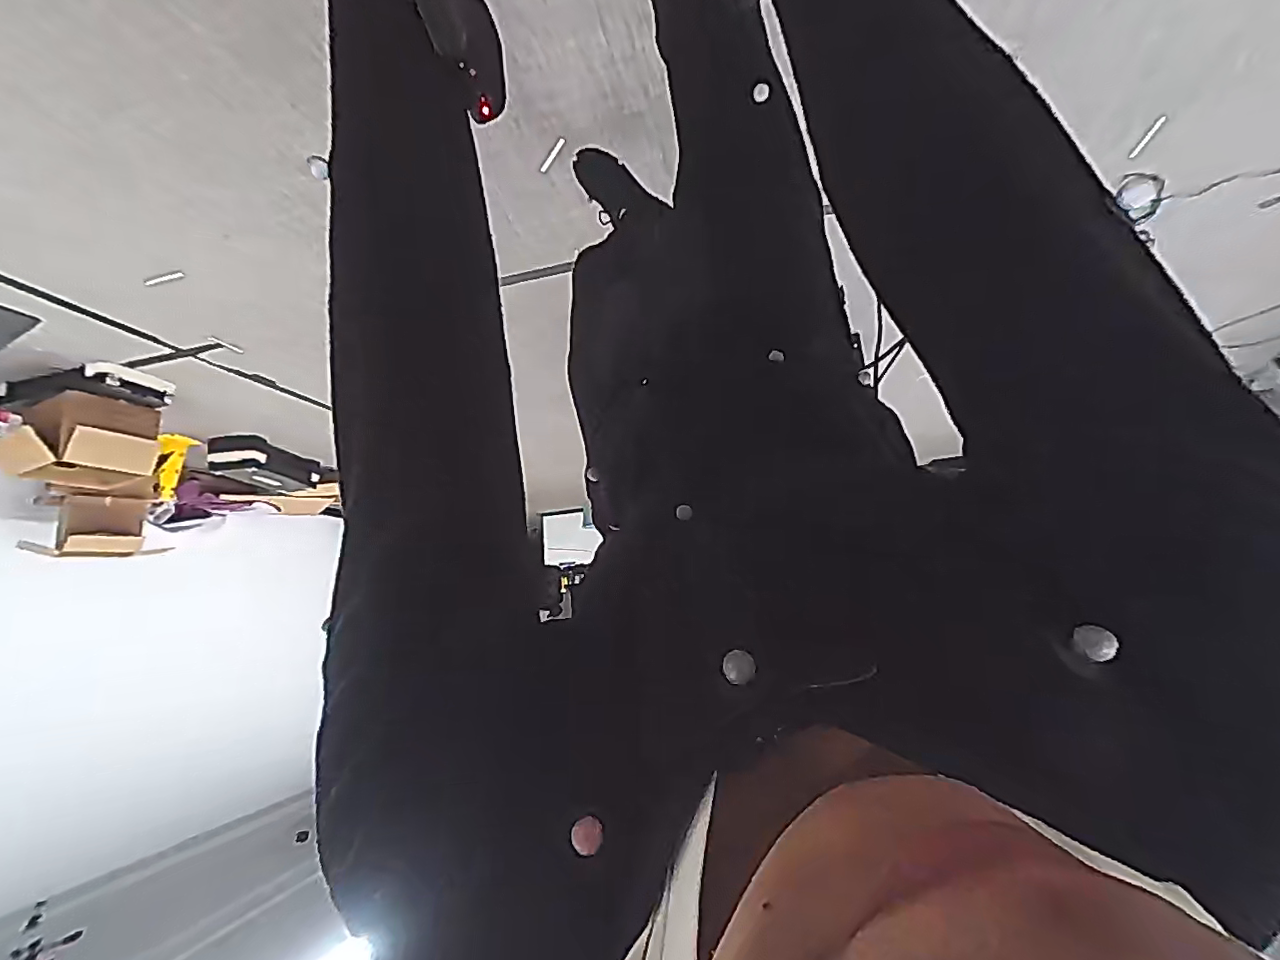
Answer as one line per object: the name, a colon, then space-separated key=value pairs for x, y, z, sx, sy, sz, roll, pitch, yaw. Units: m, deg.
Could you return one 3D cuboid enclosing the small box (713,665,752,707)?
small box: x=0.454 y=1.000 z=2.635 sx=0.168 sy=0.176 sz=0.179 roll=-8 pitch=167 yaw=12
